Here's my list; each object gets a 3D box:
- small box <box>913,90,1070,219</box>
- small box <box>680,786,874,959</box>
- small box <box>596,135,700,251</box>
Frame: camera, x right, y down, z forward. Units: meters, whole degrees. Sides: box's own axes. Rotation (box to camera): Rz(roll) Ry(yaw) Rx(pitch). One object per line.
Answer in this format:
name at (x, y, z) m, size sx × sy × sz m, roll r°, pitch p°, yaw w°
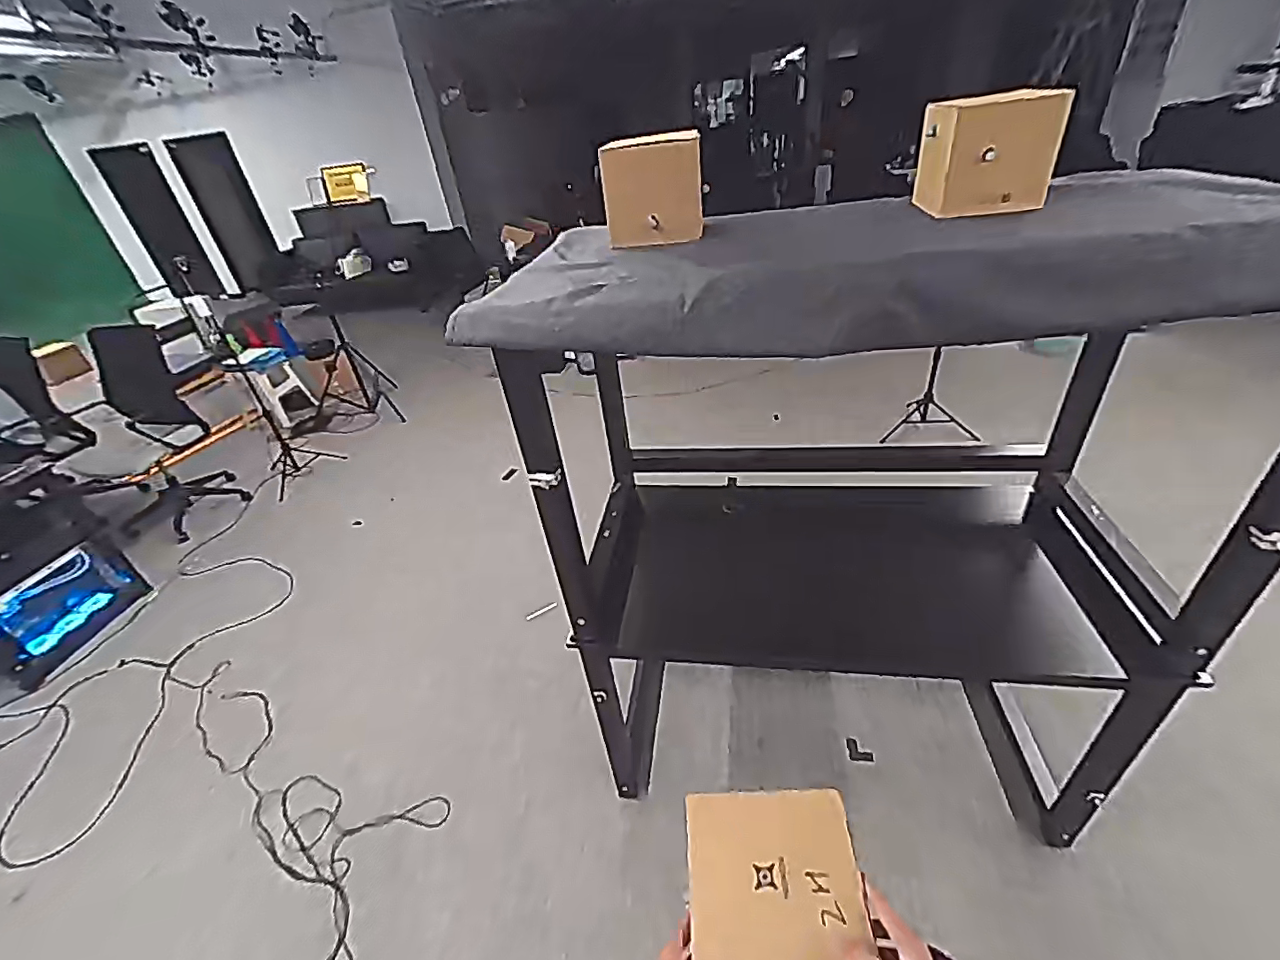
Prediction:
small box at (0.594, -0.562, 0.942) m, size 0.168 × 0.176 × 0.179 m, roll -1°, pitch 35°, yaw 10°
small box at (0.142, 0.463, 0.601) m, size 0.179 × 0.176 × 0.168 m, roll -6°, pitch 39°, yaw 7°
small box at (0.025, -0.551, 1.038) m, size 0.179 × 0.176 × 0.168 m, roll -1°, pitch 35°, yaw 9°
